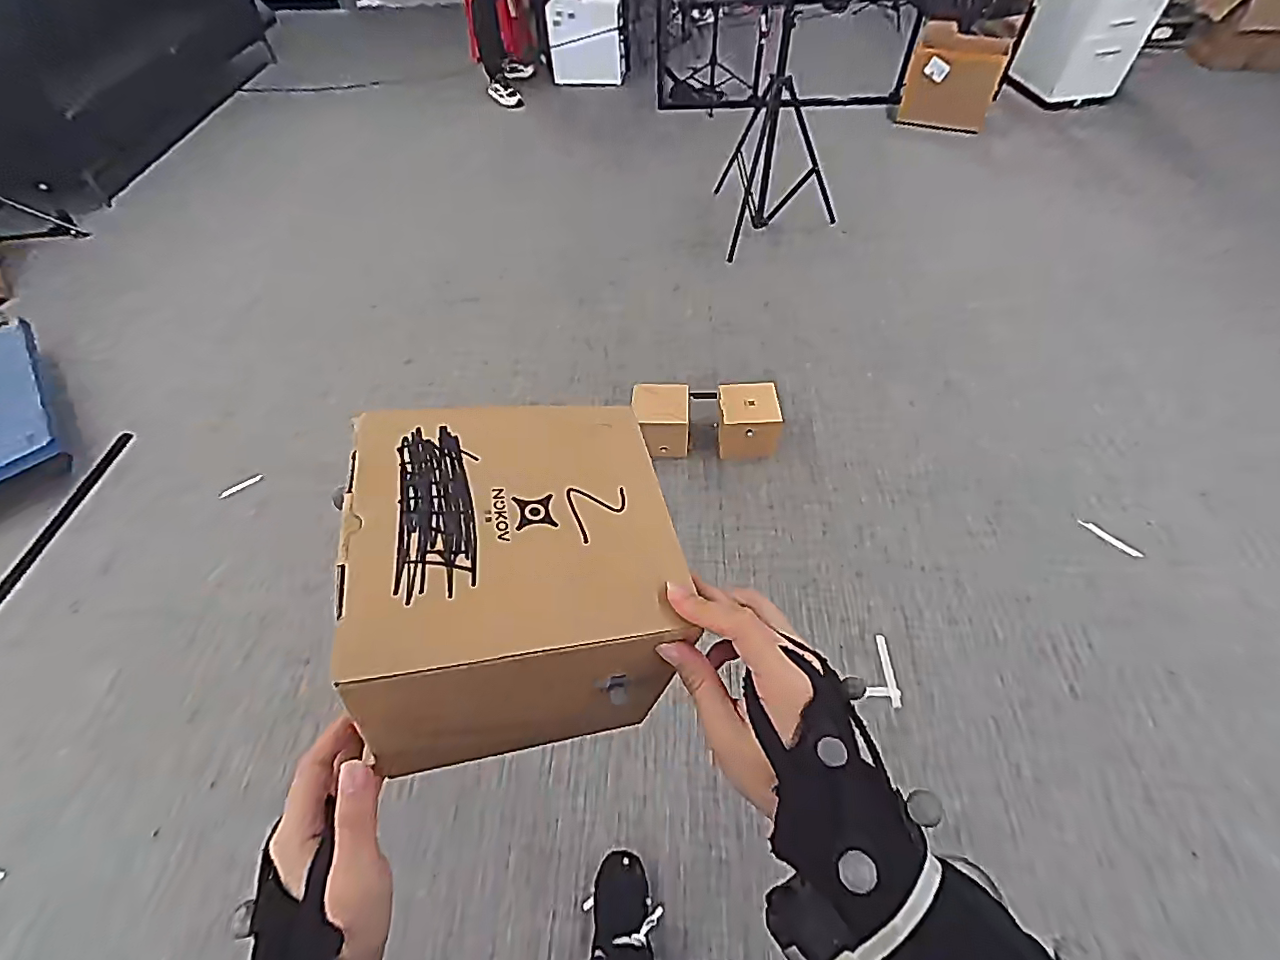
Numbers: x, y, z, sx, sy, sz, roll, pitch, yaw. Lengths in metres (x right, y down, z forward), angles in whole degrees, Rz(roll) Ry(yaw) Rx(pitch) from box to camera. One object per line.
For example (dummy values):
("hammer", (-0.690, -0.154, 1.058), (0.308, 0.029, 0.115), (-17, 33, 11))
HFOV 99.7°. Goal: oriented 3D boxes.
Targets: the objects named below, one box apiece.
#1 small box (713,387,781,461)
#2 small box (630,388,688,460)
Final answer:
("small box", (0.332, -0.176, 1.713), (0.179, 0.176, 0.168), (-3, 54, 0))
("small box", (0.063, -0.178, 1.721), (0.179, 0.176, 0.168), (2, 54, 3))
